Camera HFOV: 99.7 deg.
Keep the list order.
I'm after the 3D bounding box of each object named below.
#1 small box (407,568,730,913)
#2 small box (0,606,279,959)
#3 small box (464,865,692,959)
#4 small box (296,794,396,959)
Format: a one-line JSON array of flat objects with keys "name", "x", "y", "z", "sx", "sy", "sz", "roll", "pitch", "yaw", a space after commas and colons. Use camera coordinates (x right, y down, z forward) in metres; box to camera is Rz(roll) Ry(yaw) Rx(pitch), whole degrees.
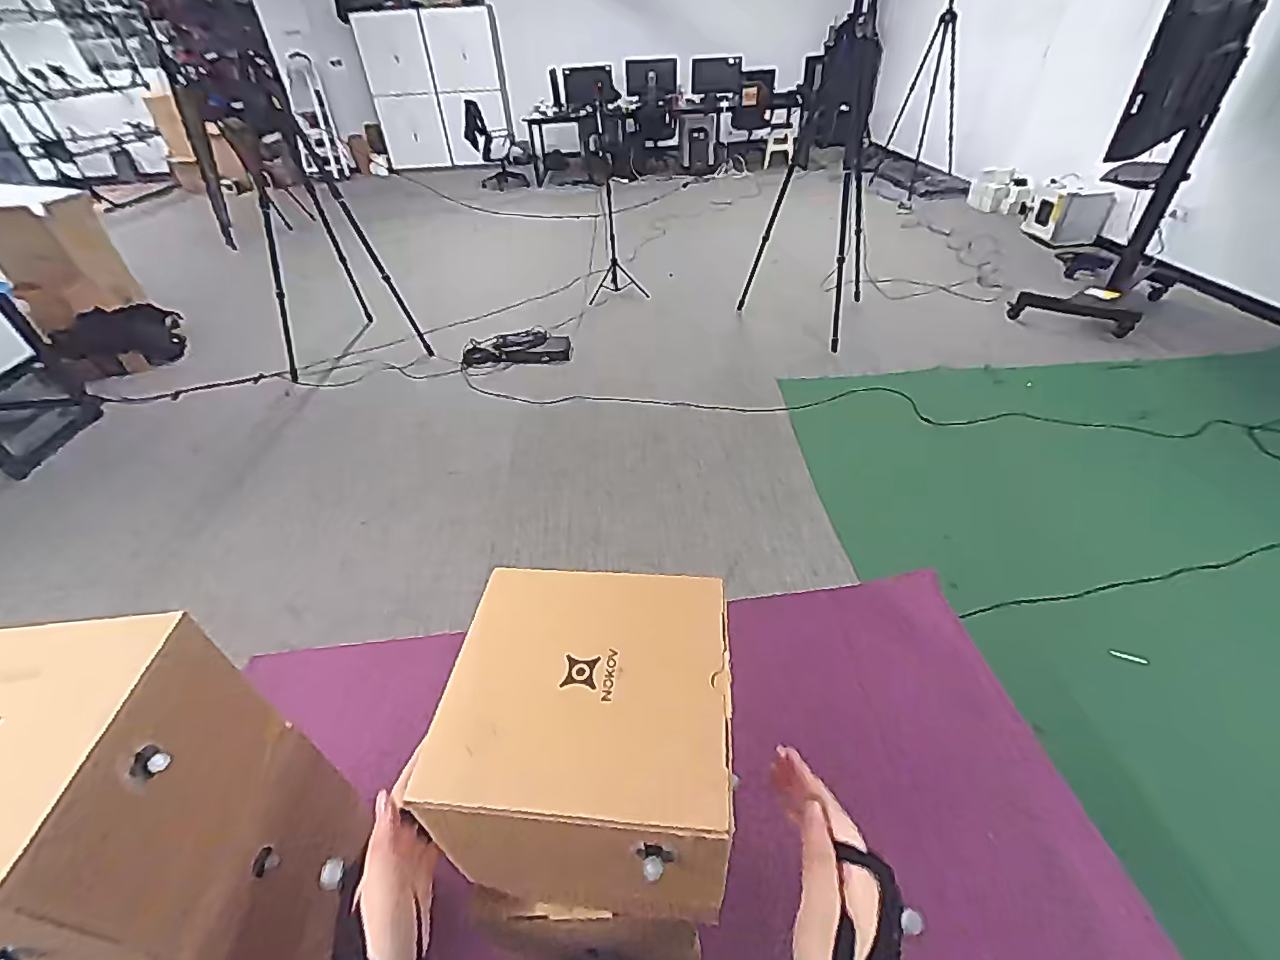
[{"name": "small box", "x": -0.029, "y": 0.184, "z": 0.390, "sx": 0.179, "sy": 0.176, "sz": 0.168, "roll": 3, "pitch": 40, "yaw": 6}, {"name": "small box", "x": -0.396, "y": 0.213, "z": 0.376, "sx": 0.168, "sy": 0.176, "sz": 0.179, "roll": -3, "pitch": 40, "yaw": -2}, {"name": "small box", "x": -0.043, "y": 0.308, "z": 0.496, "sx": 0.168, "sy": 0.176, "sz": 0.179, "roll": -2, "pitch": 40, "yaw": 1}, {"name": "small box", "x": -0.388, "y": 0.466, "z": 0.585, "sx": 0.168, "sy": 0.176, "sz": 0.179, "roll": -3, "pitch": 41, "yaw": -2}]
